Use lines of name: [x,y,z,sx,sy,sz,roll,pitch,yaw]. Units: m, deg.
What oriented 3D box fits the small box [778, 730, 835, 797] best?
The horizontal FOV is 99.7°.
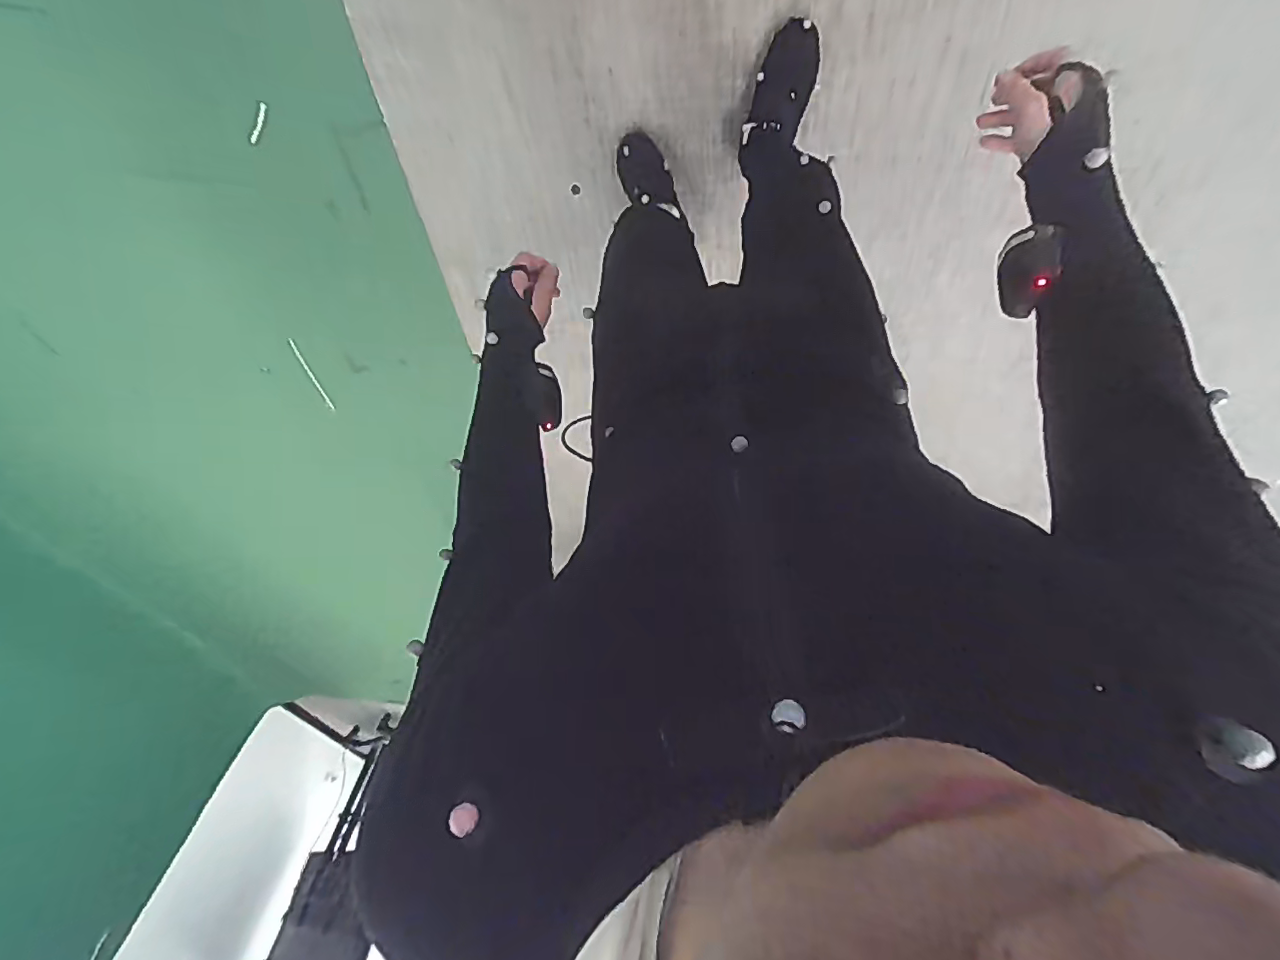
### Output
small box: [0.540,0.940,1.766,0.168,0.176,0.179,-2,135,14]
